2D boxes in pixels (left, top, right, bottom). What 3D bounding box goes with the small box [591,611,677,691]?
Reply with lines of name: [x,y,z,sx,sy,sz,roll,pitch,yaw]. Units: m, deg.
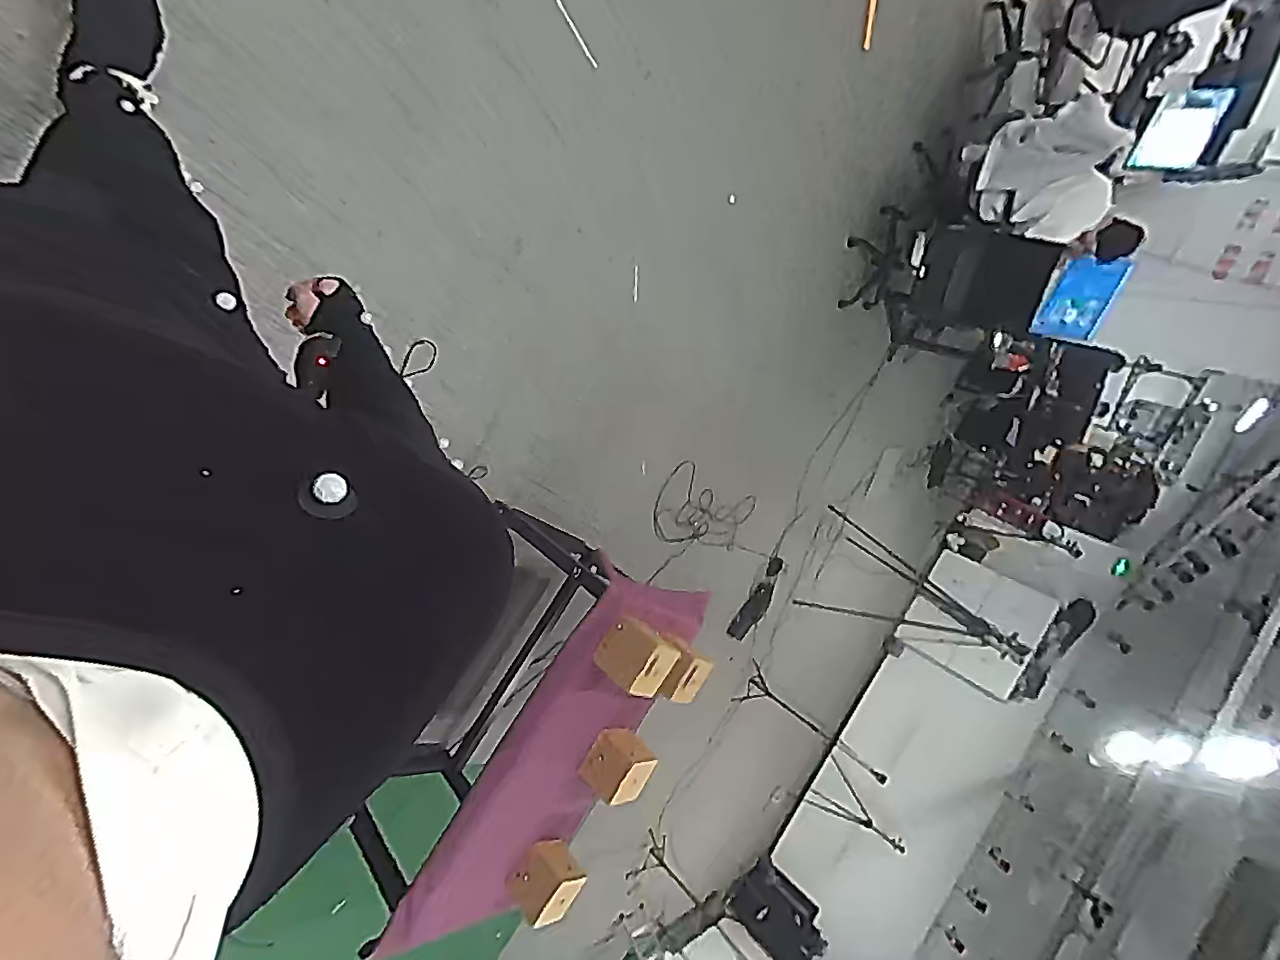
small box: [-0.020,0.528,1.679,0.168,0.176,0.179,-55,145,-6]

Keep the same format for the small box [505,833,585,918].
small box: [-0.331,1.363,1.879,0.168,0.176,0.179,-54,143,-9]

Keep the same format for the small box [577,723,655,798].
small box: [-0.086,0.985,1.916,0.179,0.176,0.168,30,90,-53]
